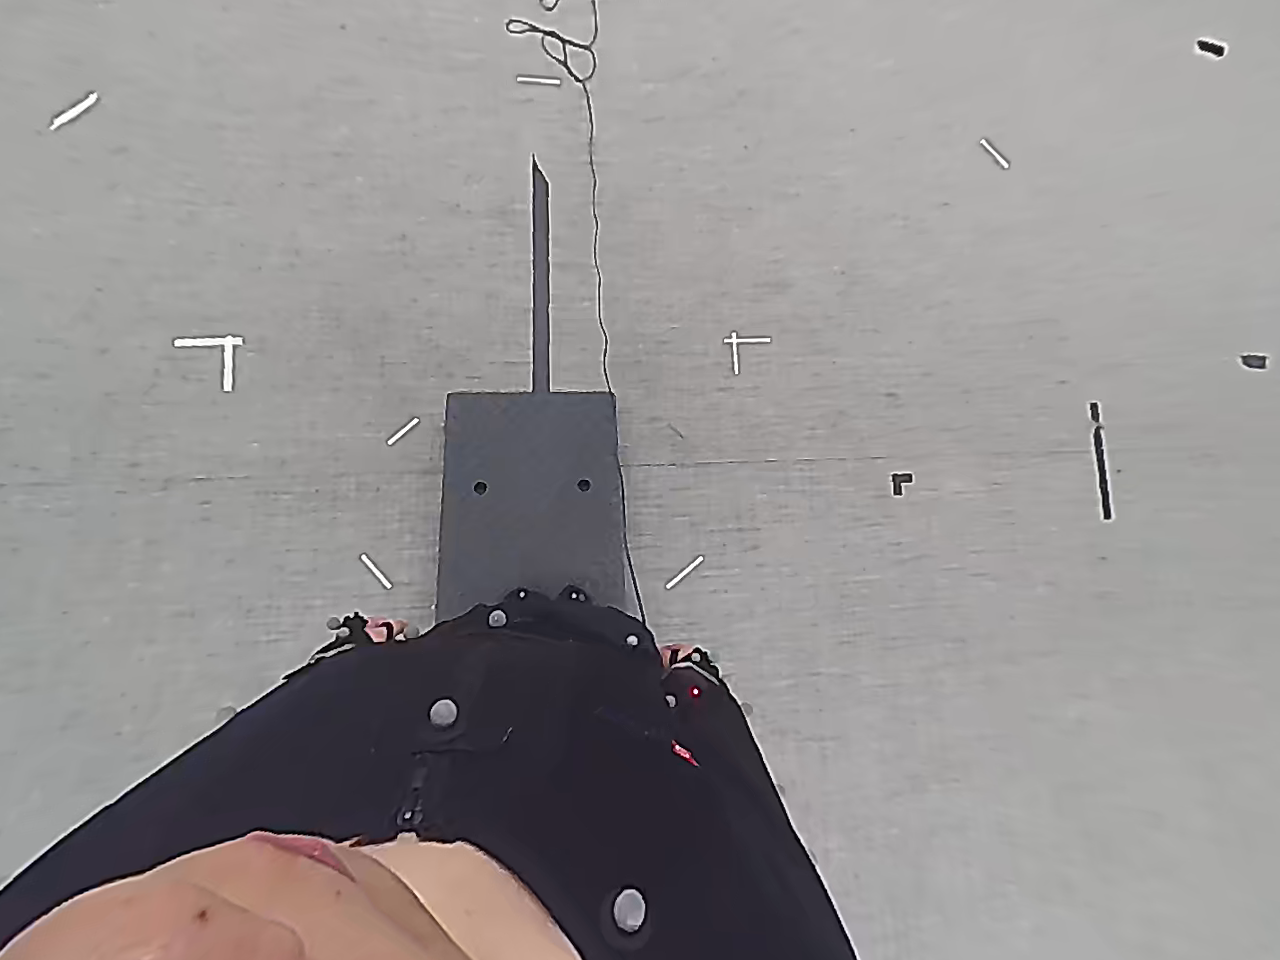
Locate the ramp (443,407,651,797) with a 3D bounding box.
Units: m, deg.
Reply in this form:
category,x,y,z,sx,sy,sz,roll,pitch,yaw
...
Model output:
category,x,y,z,sx,sy,sz,roll,pitch,yaw
ramp,-0.251,0.258,1.442,0.509,0.206,0.991,-4,80,-6
